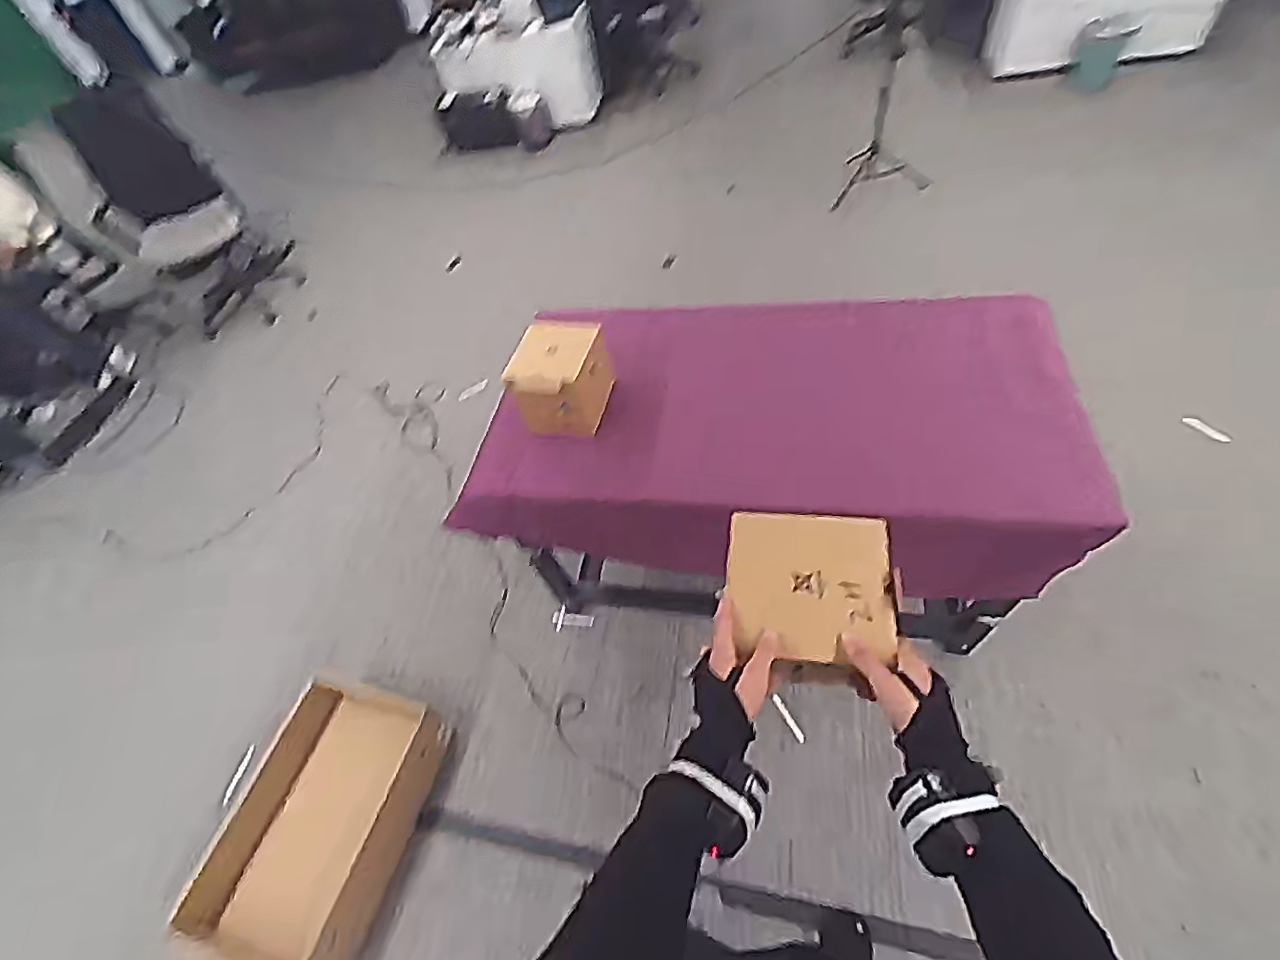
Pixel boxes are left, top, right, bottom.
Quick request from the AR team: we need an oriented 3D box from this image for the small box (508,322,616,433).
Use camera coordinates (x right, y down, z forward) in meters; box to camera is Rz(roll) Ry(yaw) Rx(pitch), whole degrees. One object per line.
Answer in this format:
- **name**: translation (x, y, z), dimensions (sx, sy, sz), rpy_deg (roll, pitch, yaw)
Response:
- **small box**: translation (-0.162, -0.224, 1.197), dimensions (0.168, 0.176, 0.179), rpy_deg (8, 56, 16)

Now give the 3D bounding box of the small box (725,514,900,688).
- **small box**: translation (0.197, 0.154, 0.665), dimensions (0.179, 0.176, 0.168), rpy_deg (3, 63, 8)
